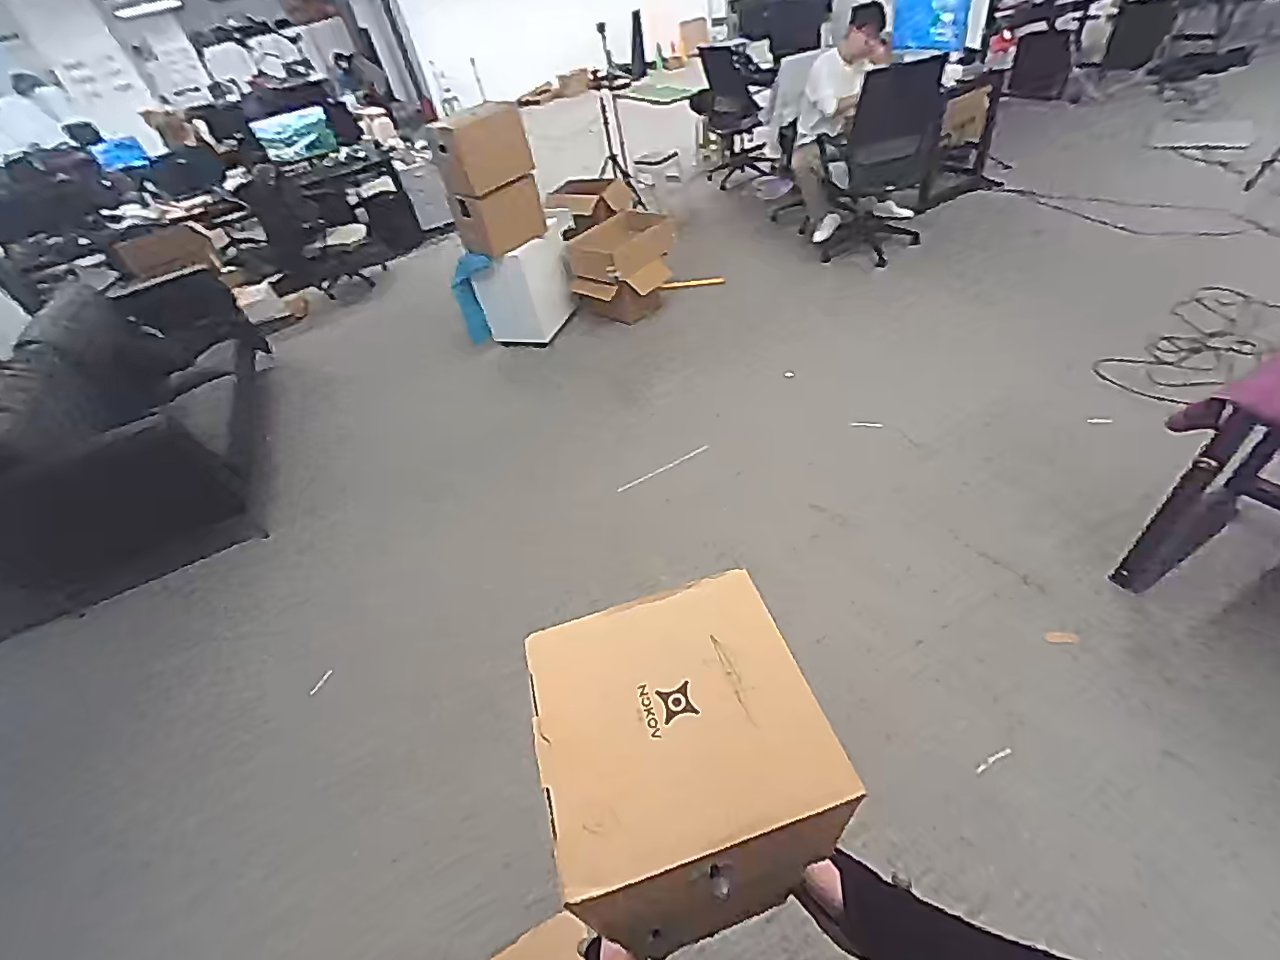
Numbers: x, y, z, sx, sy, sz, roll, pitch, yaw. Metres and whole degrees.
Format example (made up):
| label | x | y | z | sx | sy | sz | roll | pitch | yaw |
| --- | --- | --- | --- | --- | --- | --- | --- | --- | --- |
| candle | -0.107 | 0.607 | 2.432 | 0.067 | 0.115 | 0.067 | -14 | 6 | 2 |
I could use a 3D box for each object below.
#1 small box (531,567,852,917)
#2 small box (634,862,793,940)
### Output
| label | x | y | z | sx | sy | sz | roll | pitch | yaw |
| --- | --- | --- | --- | --- | --- | --- | --- | --- | --- |
| small box | 0.032 | 0.199 | 0.410 | 0.179 | 0.176 | 0.168 | -16 | 45 | -5 |
| small box | 0.067 | 0.418 | 0.651 | 0.179 | 0.176 | 0.168 | -17 | 45 | -7 |
